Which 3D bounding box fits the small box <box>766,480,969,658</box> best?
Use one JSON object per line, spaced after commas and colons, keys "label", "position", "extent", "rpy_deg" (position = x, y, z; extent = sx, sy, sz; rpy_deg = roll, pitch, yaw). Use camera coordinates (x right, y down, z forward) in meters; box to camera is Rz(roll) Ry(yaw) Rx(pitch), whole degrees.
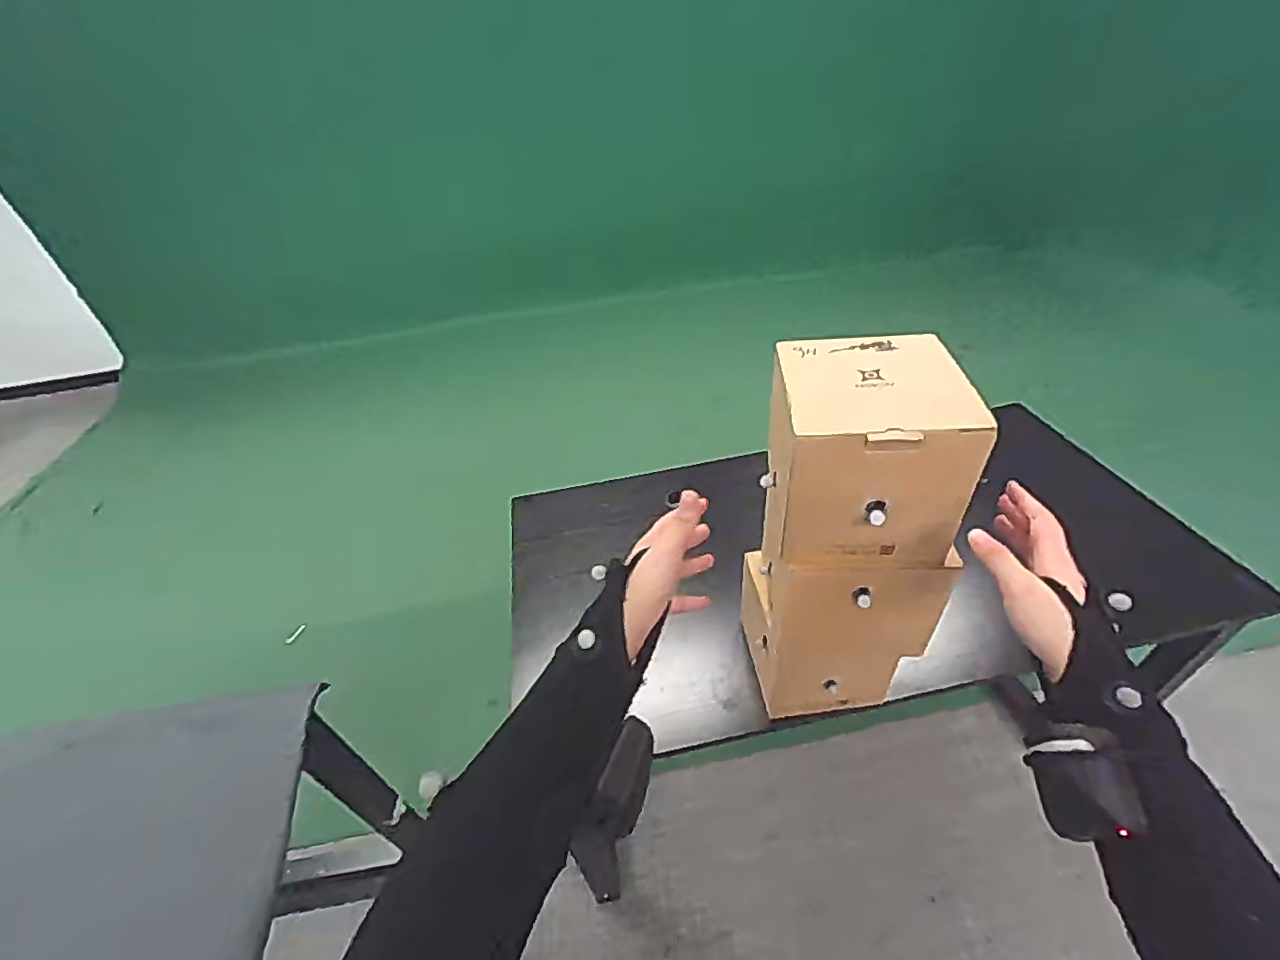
{"label": "small box", "position": [0.256, 0.101, 0.660], "extent": [0.179, 0.176, 0.168], "rpy_deg": [-3, 41, 6]}

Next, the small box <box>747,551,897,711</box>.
{"label": "small box", "position": [0.255, 0.213, 0.779], "extent": [0.168, 0.176, 0.179], "rpy_deg": [-7, 40, -1]}

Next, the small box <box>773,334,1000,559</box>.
{"label": "small box", "position": [0.232, -0.032, 0.565], "extent": [0.168, 0.176, 0.179], "rpy_deg": [-1, 42, 8]}
